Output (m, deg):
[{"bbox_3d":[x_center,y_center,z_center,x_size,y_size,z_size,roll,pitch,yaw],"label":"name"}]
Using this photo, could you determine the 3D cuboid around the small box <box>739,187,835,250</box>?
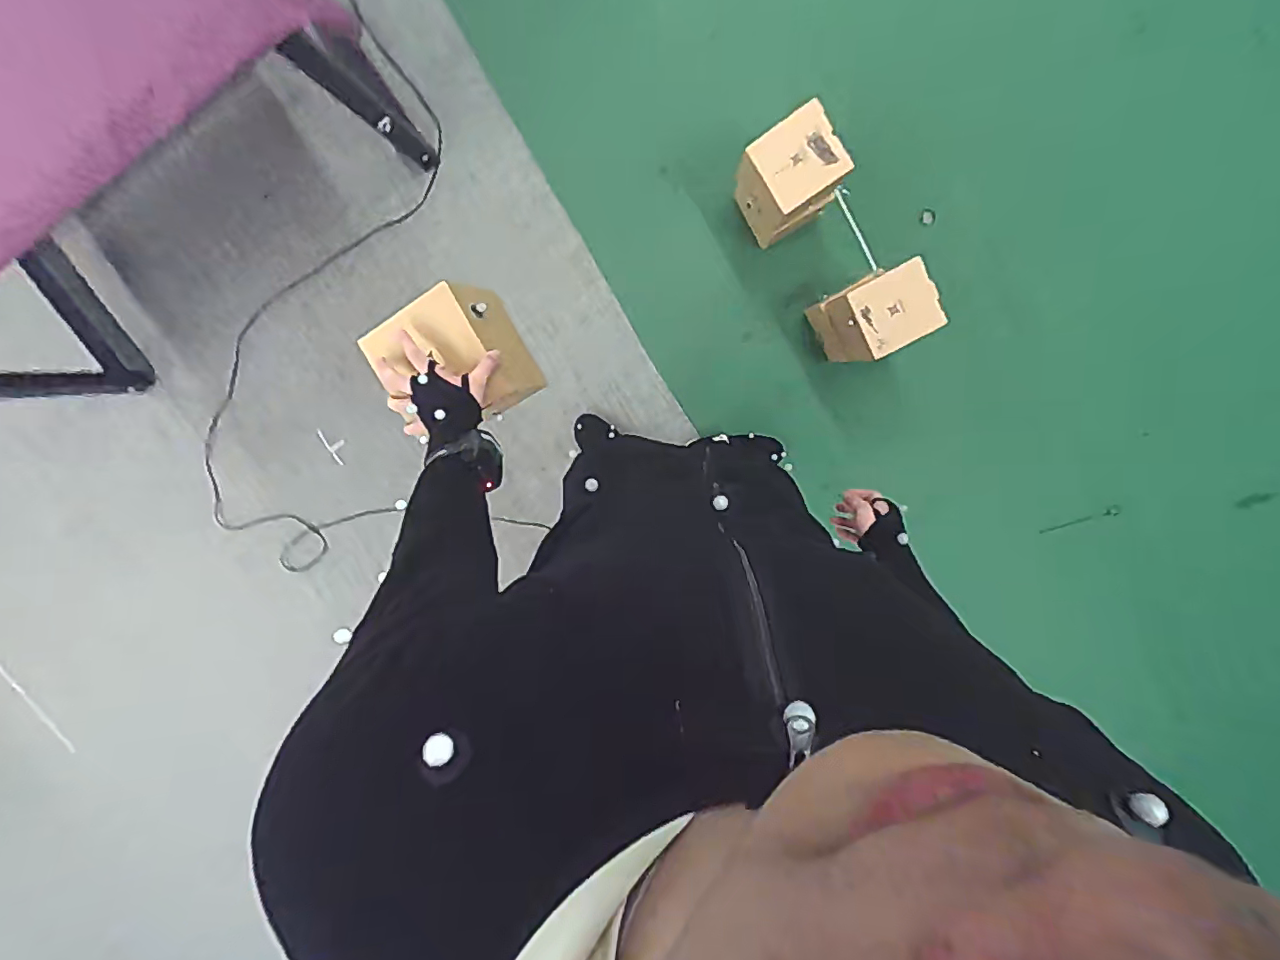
[{"bbox_3d":[0.367,-0.722,1.391,0.179,0.176,0.168,-29,97,8],"label":"small box"}]

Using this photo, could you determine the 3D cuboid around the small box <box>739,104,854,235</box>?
[{"bbox_3d":[0.346,-0.694,1.230,0.179,0.176,0.168,-32,97,8],"label":"small box"}]

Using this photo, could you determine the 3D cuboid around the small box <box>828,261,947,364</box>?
[{"bbox_3d":[0.575,-0.387,1.275,0.179,0.176,0.168,-26,99,8],"label":"small box"}]

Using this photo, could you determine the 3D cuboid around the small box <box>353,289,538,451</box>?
[{"bbox_3d":[-0.288,-0.168,0.838,0.168,0.176,0.179,-28,97,15],"label":"small box"}]
